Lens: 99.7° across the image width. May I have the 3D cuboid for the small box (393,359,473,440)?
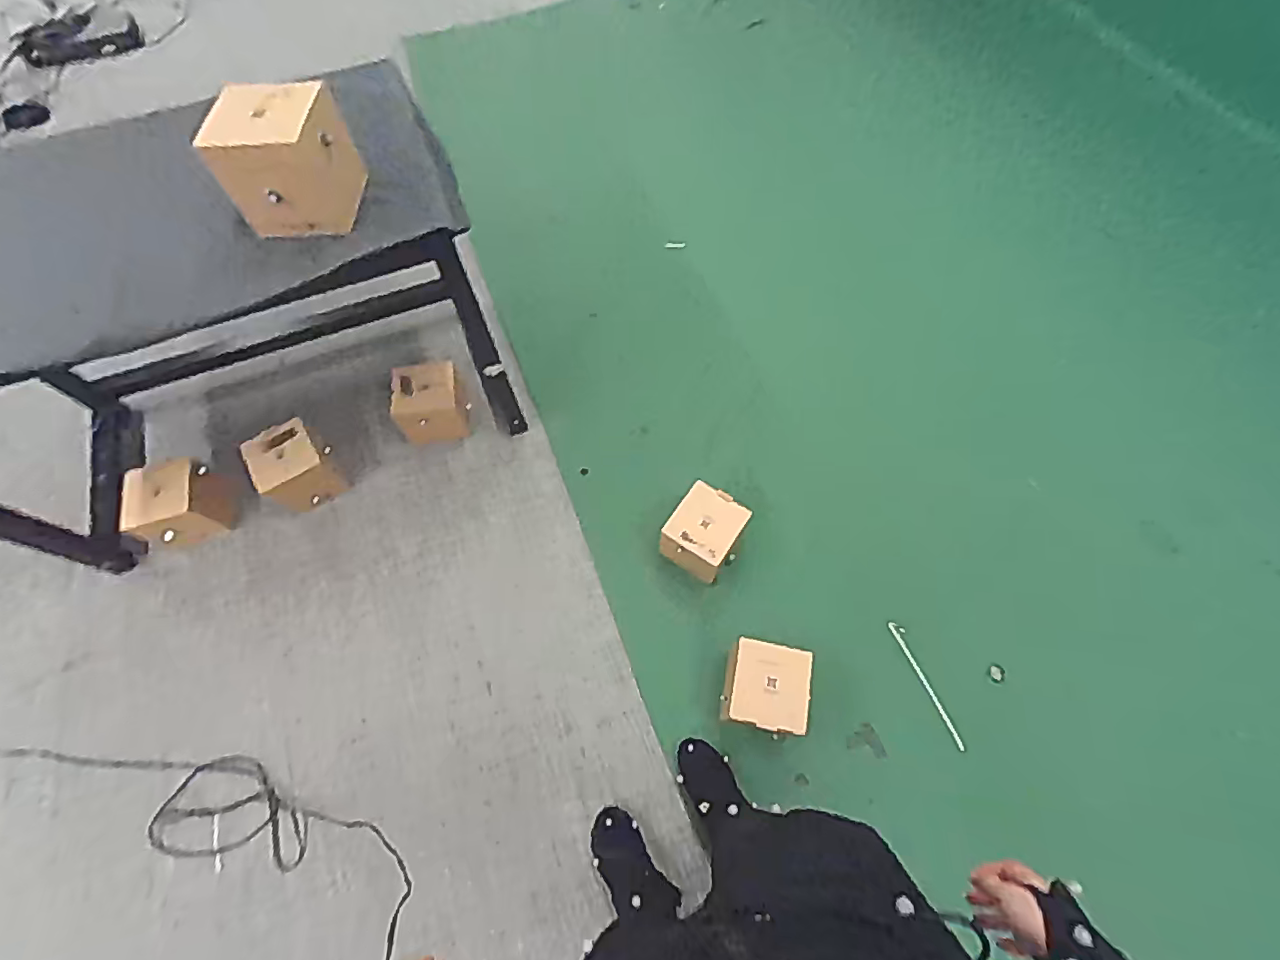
[{"bbox_3d":[-0.603,-0.232,1.592,0.179,0.176,0.168,-8,65,-5],"label":"small box"}]

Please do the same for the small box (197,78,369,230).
[{"bbox_3d":[-0.598,-0.555,0.935,0.168,0.176,0.179,-1,62,0],"label":"small box"}]

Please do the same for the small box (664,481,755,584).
[{"bbox_3d":[0.171,0.141,1.407,0.168,0.176,0.179,33,69,15],"label":"small box"}]

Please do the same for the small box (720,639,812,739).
[{"bbox_3d":[0.284,0.484,1.243,0.168,0.176,0.179,12,65,5],"label":"small box"}]

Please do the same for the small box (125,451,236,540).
[{"bbox_3d":[-1.238,0.051,1.469,0.168,0.176,0.179,-17,65,-7],"label":"small box"}]
